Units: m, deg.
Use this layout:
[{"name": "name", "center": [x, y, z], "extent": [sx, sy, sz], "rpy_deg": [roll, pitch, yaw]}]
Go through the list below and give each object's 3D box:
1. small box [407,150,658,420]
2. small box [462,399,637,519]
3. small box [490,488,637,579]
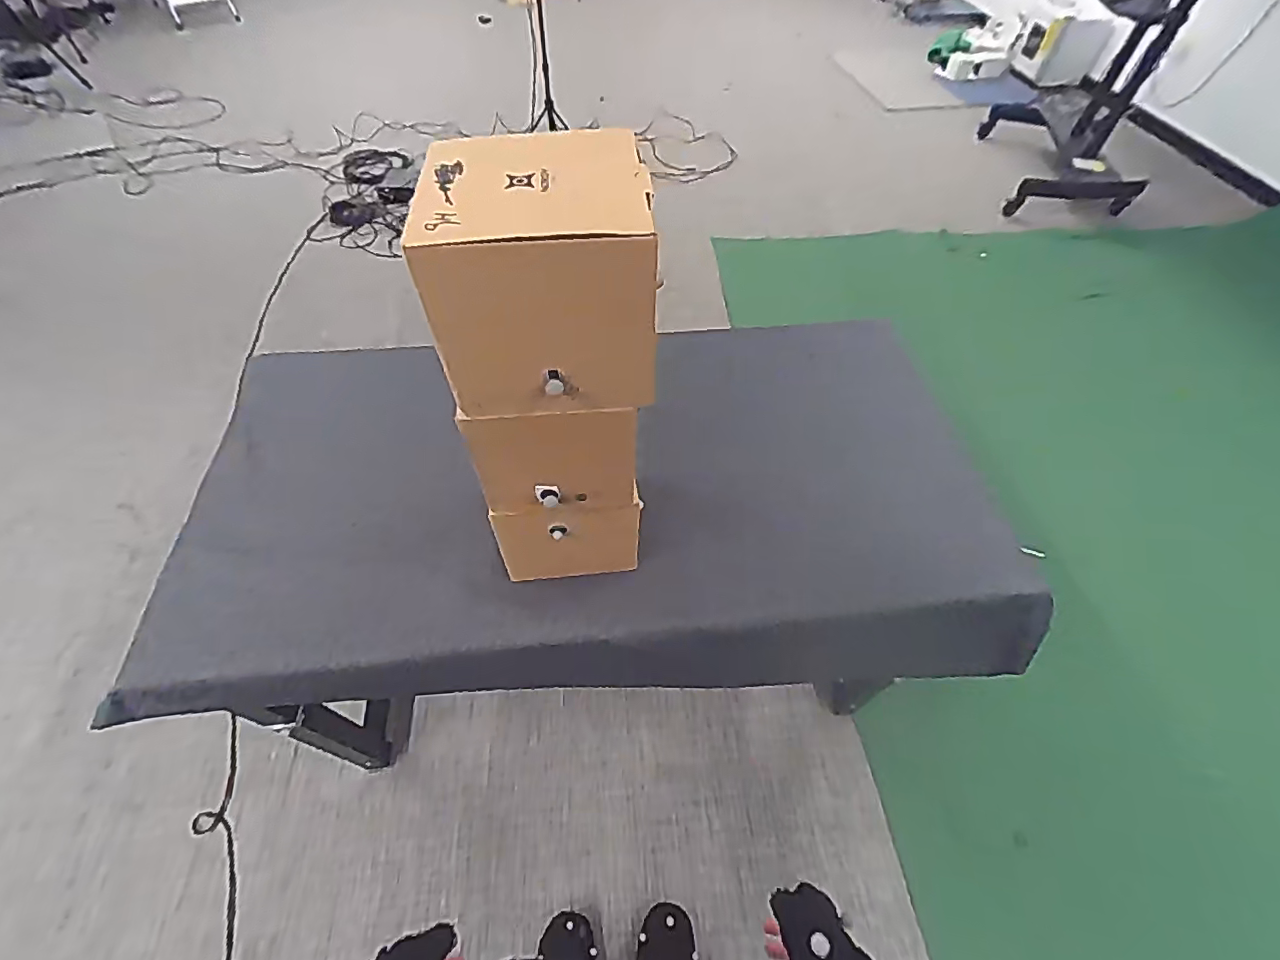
[{"name": "small box", "center": [-0.083, -0.170, 0.486], "extent": [0.179, 0.176, 0.168], "rpy_deg": [-4, 53, -4]}, {"name": "small box", "center": [-0.094, -0.075, 0.619], "extent": [0.168, 0.176, 0.179], "rpy_deg": [-5, 54, -4]}, {"name": "small box", "center": [-0.099, 0.025, 0.746], "extent": [0.179, 0.176, 0.168], "rpy_deg": [-4, 53, -6]}]
